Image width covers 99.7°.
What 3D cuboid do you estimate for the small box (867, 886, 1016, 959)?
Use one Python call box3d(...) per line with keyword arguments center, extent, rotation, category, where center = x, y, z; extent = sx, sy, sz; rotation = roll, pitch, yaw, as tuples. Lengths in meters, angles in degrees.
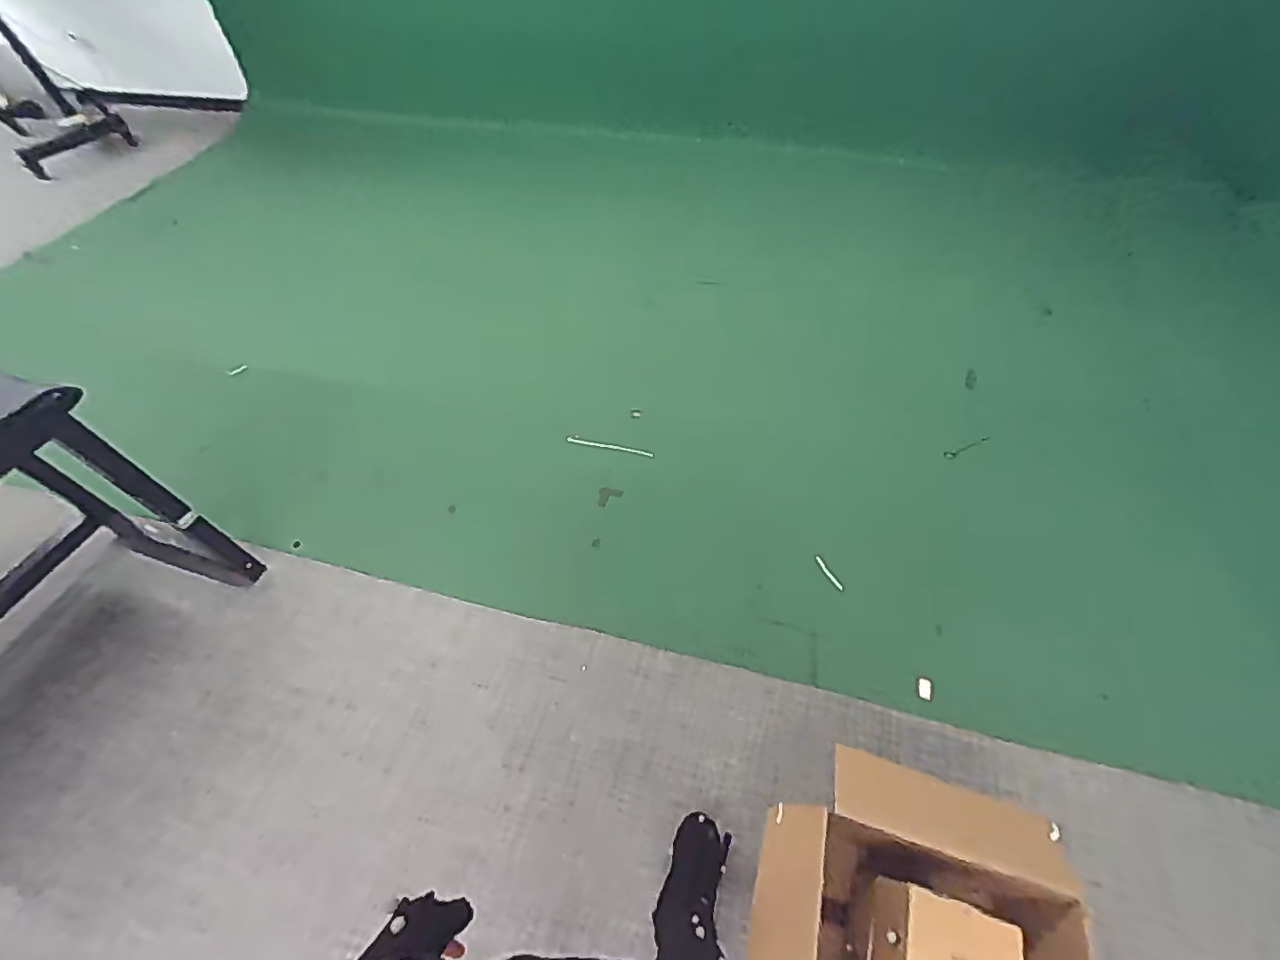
box3d(center=(0.480, 0.794, 0.877), extent=(0.168, 0.176, 0.179), rotation=(15, 56, 12), category="small box")
